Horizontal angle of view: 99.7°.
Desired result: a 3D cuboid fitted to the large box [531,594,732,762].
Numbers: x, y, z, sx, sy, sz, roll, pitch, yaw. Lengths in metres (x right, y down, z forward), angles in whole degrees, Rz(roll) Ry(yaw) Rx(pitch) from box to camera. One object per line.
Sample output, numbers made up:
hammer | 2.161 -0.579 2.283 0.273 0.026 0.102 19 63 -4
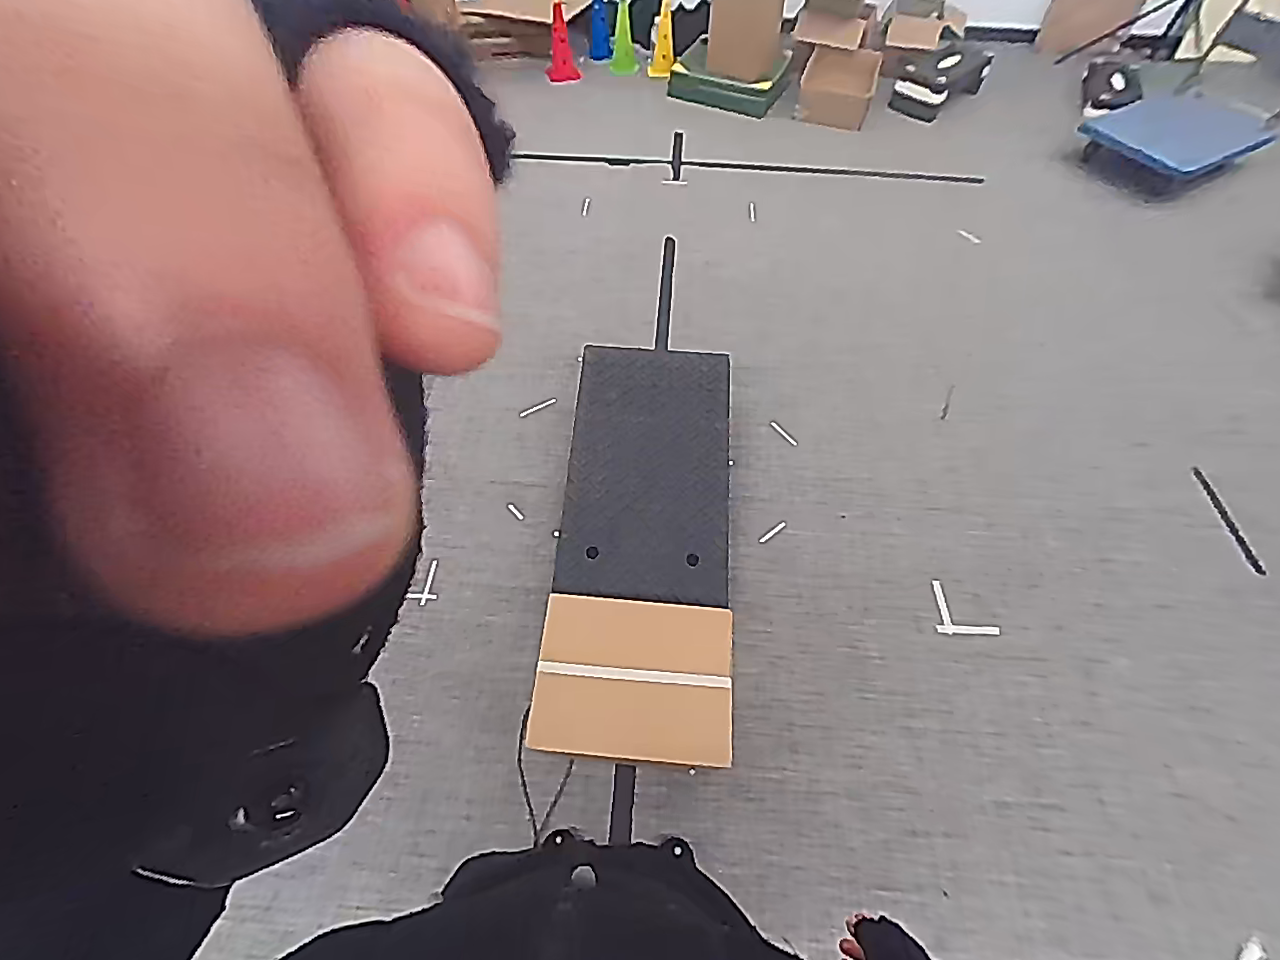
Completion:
large box | -0.008 0.471 1.259 0.408 0.320 0.320 5 60 2

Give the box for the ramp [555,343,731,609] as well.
ramp | 0.030 0.016 1.632 0.509 0.206 0.991 3 57 -1
